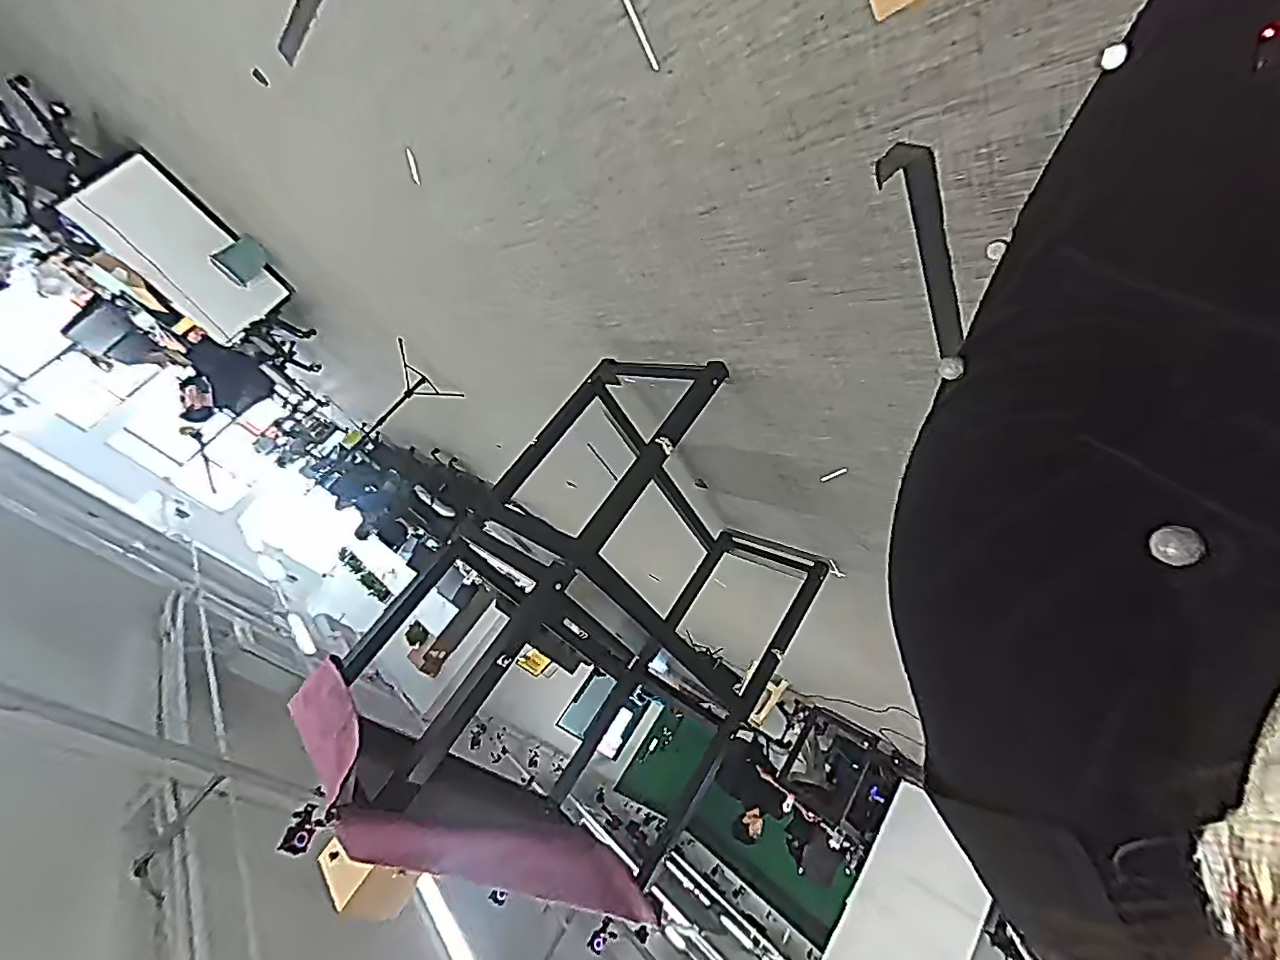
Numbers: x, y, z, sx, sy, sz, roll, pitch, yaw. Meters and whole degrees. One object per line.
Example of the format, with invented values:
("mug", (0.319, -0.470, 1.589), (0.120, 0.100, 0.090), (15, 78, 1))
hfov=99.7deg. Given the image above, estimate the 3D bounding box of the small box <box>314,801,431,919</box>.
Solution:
("small box", (-0.646, 0.916, 1.319), (0.179, 0.176, 0.168), (18, 155, 44))
